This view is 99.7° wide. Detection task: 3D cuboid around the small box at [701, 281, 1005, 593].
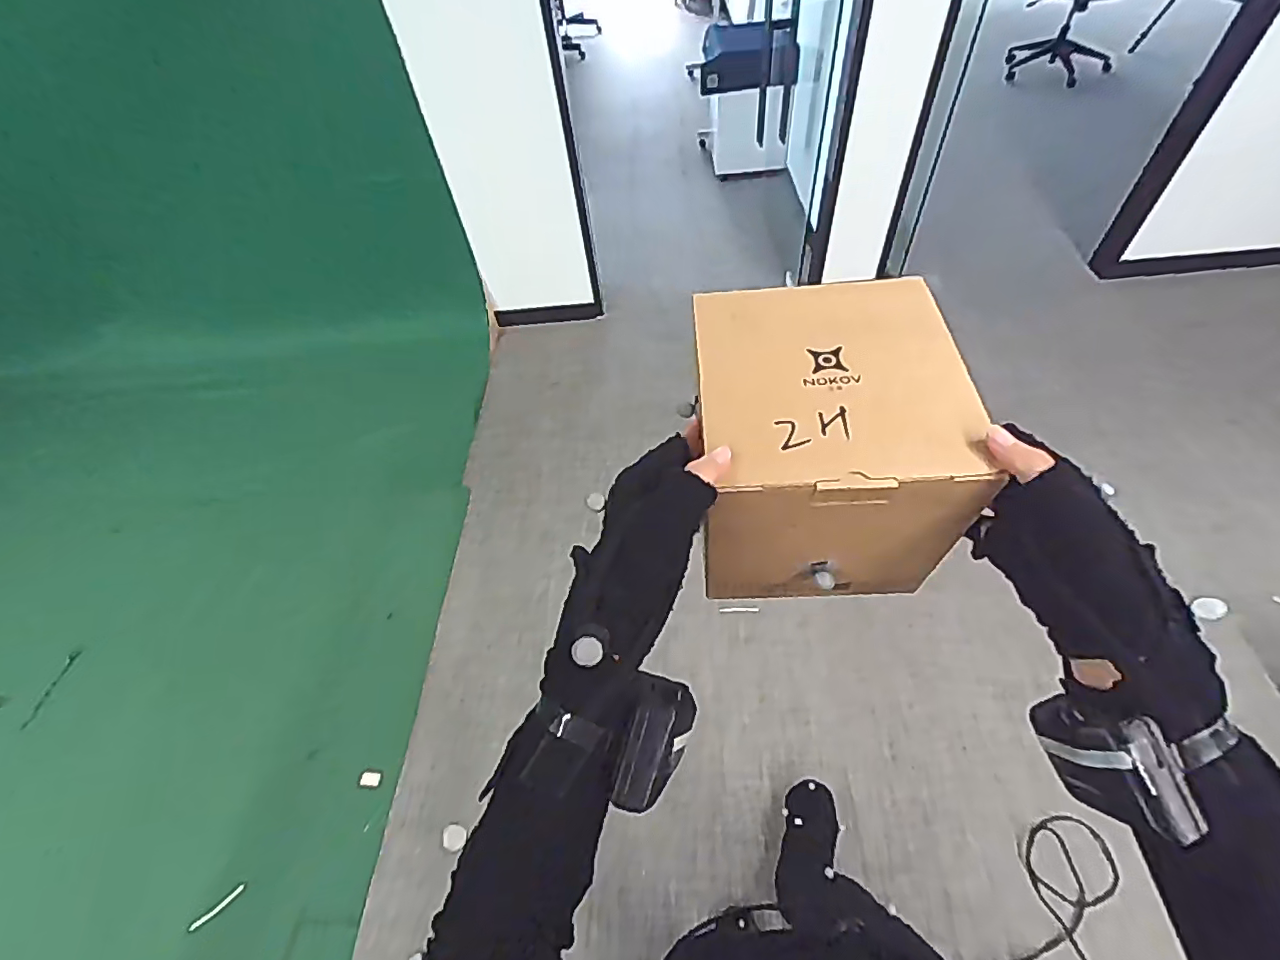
[{"bbox_3d":[0.132,-0.026,0.420,0.168,0.176,0.179,-3,56,6],"label":"small box"}]
